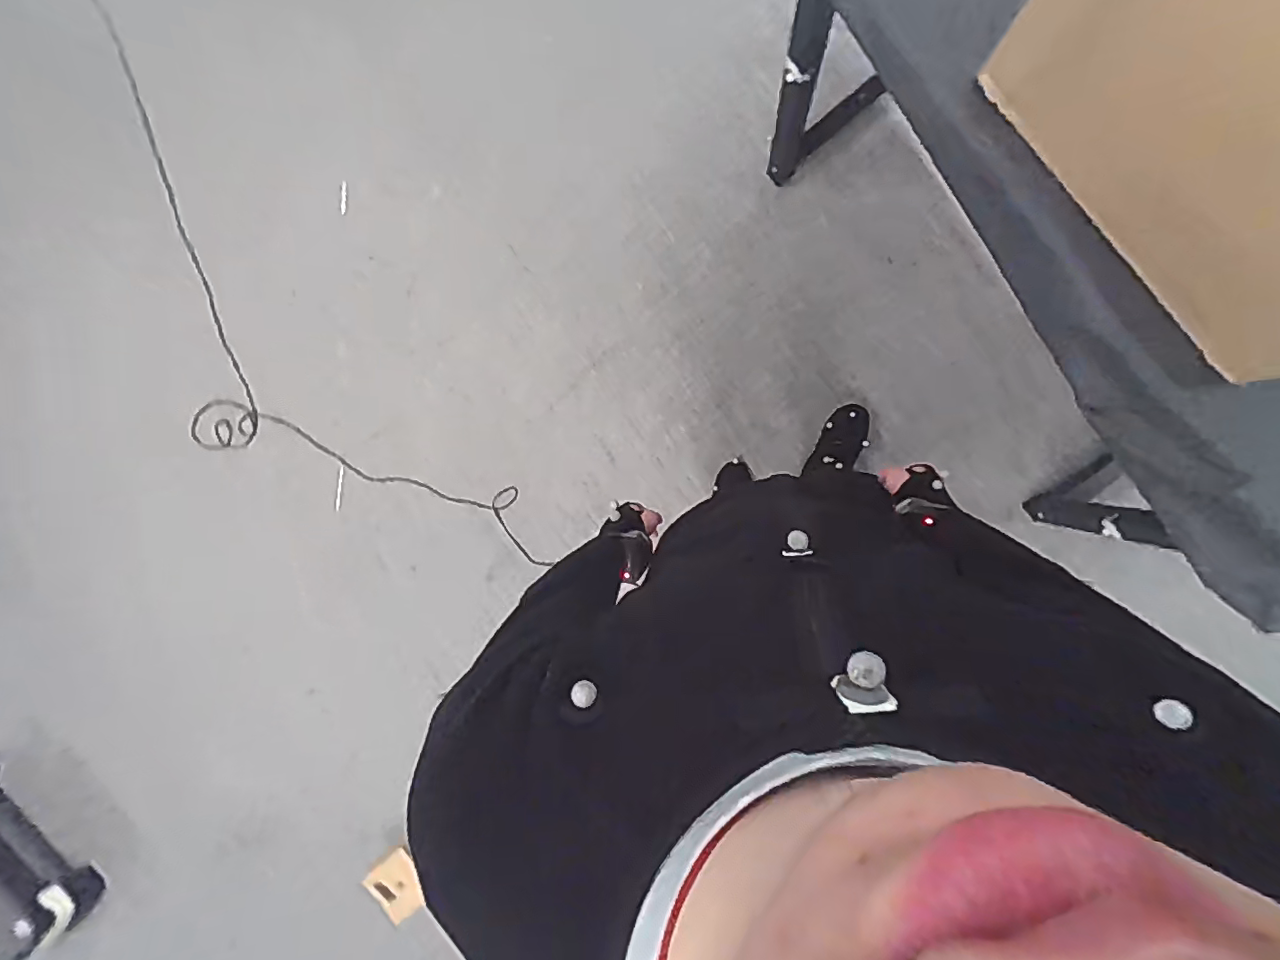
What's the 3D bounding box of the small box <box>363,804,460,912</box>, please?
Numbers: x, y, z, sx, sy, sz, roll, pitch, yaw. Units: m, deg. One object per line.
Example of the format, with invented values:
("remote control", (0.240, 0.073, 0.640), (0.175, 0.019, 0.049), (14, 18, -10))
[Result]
("small box", (-0.691, 1.151, 1.657), (0.179, 0.176, 0.168), (-42, 88, 7))
